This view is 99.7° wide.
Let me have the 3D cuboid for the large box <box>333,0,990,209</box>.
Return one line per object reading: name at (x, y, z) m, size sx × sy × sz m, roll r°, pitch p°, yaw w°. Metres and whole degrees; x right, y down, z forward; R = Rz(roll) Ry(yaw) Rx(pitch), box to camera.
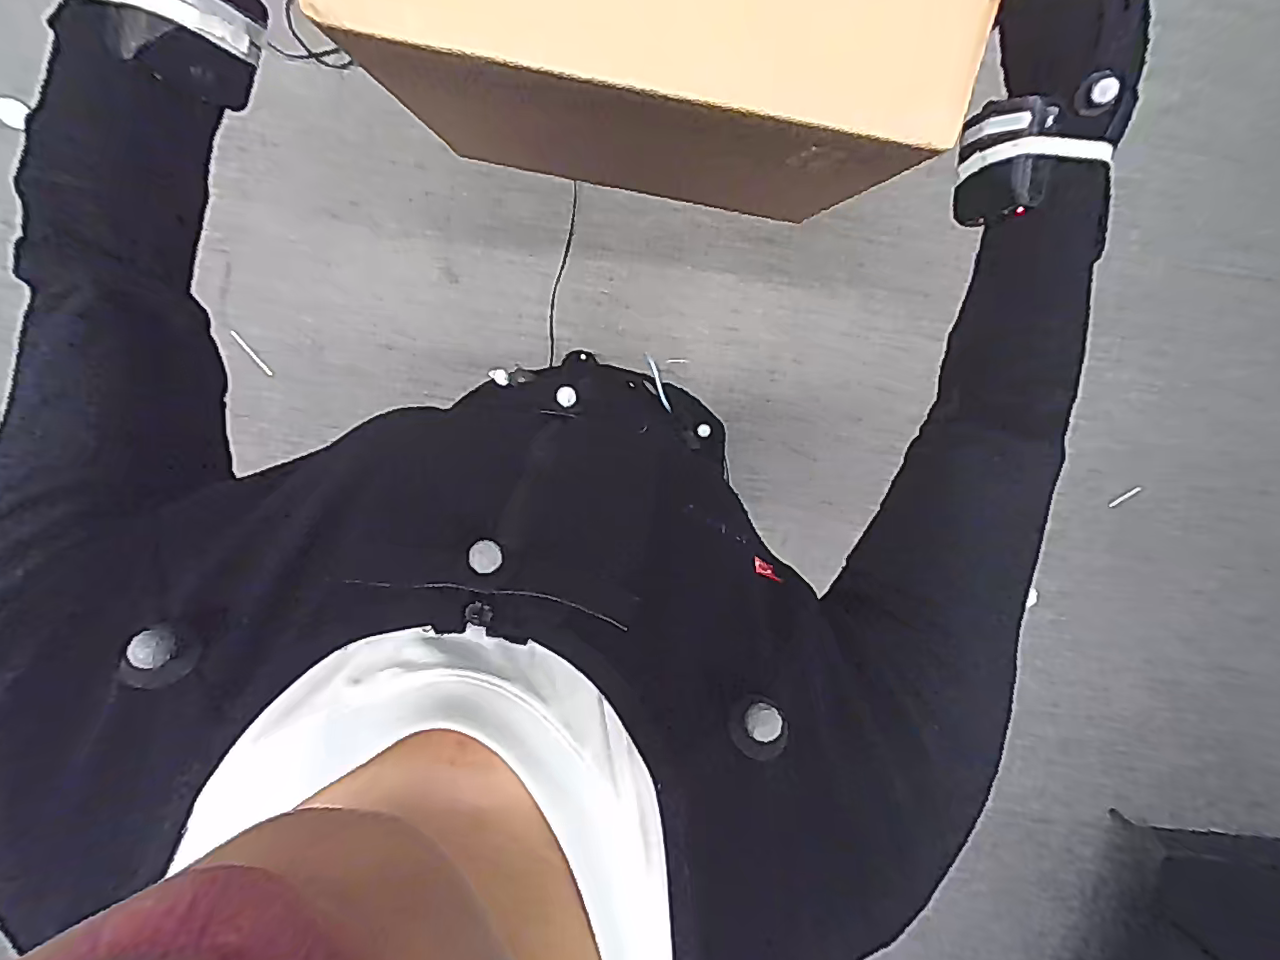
large box at (0.025, -0.441, 0.435) m, size 0.408 × 0.320 × 0.320 m, roll 8°, pitch 108°, yaw -6°
